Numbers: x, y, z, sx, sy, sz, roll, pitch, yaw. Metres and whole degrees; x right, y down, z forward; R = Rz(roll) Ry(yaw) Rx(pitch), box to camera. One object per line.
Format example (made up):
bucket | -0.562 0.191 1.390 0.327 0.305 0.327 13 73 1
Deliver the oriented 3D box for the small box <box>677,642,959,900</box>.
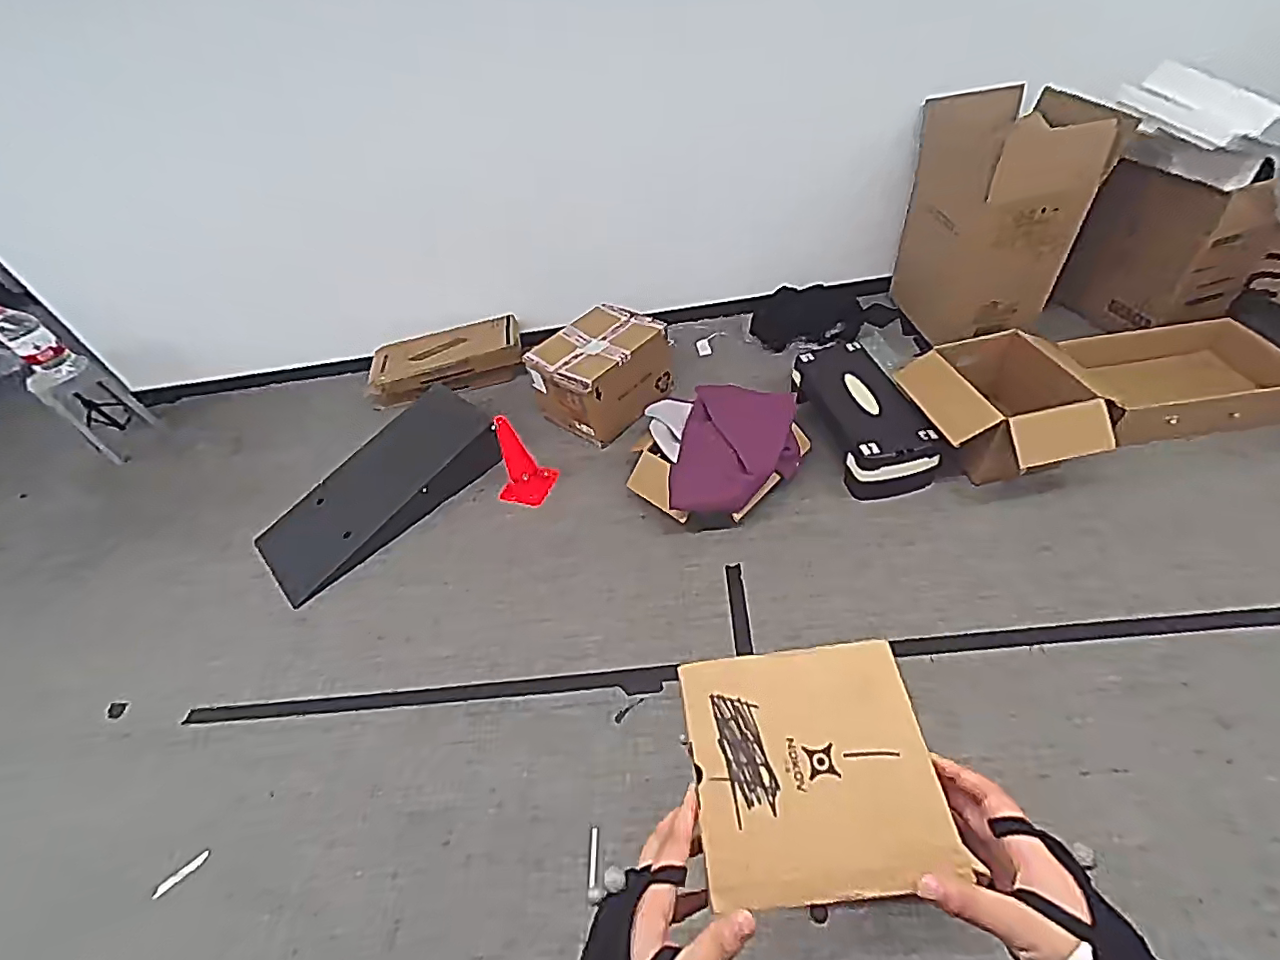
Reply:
small box | 0.134 0.259 0.474 0.179 0.176 0.168 -8 54 3

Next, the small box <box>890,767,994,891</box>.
small box | 0.529 0.666 1.027 0.168 0.176 0.179 -6 47 6
